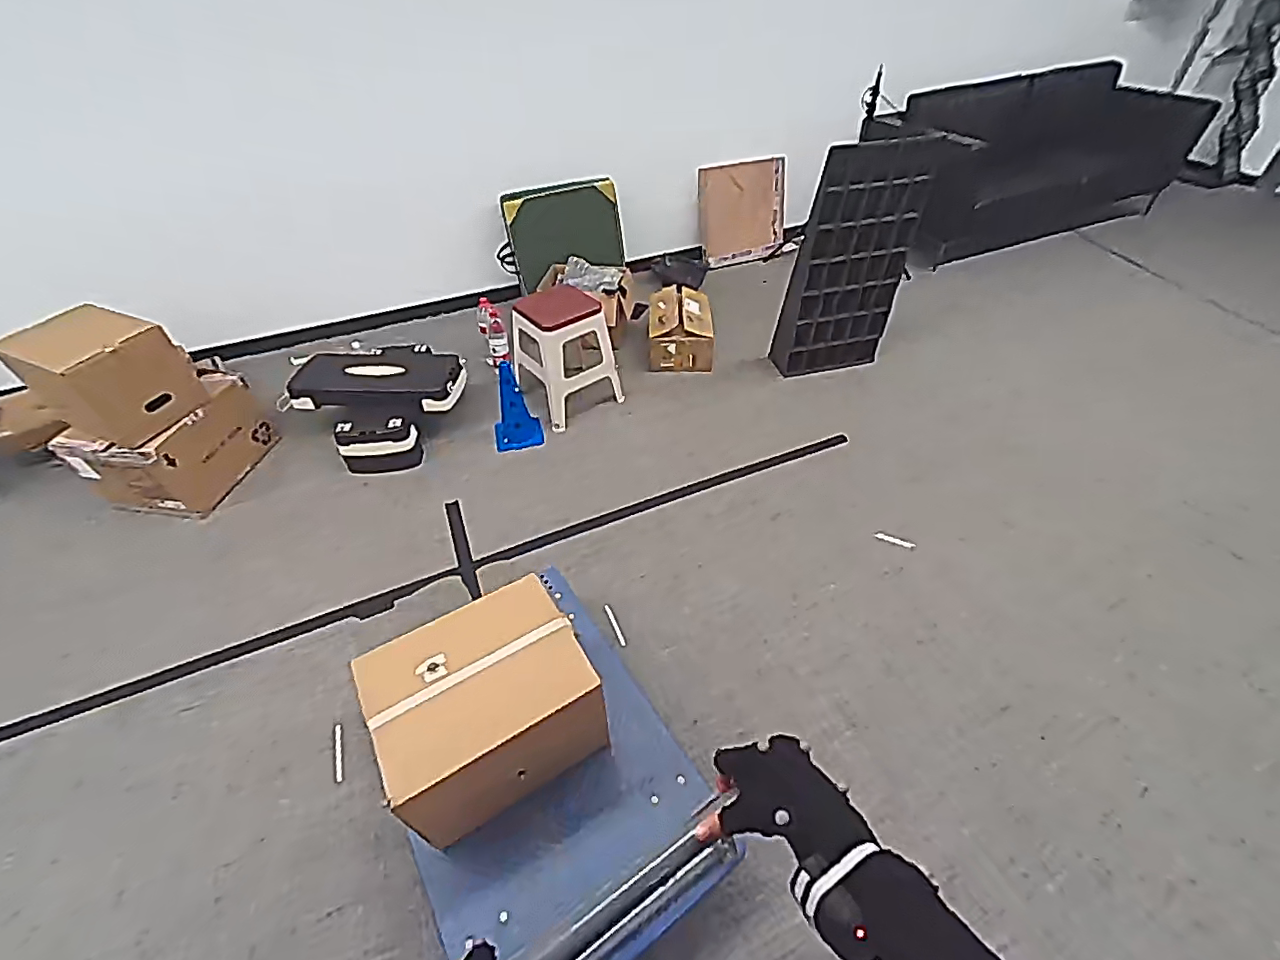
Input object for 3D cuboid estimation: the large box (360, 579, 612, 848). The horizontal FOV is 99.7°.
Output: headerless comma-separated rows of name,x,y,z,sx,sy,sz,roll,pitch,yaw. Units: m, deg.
large box,-0.310,0.495,1.171,0.408,0.320,0.320,-25,49,-21
